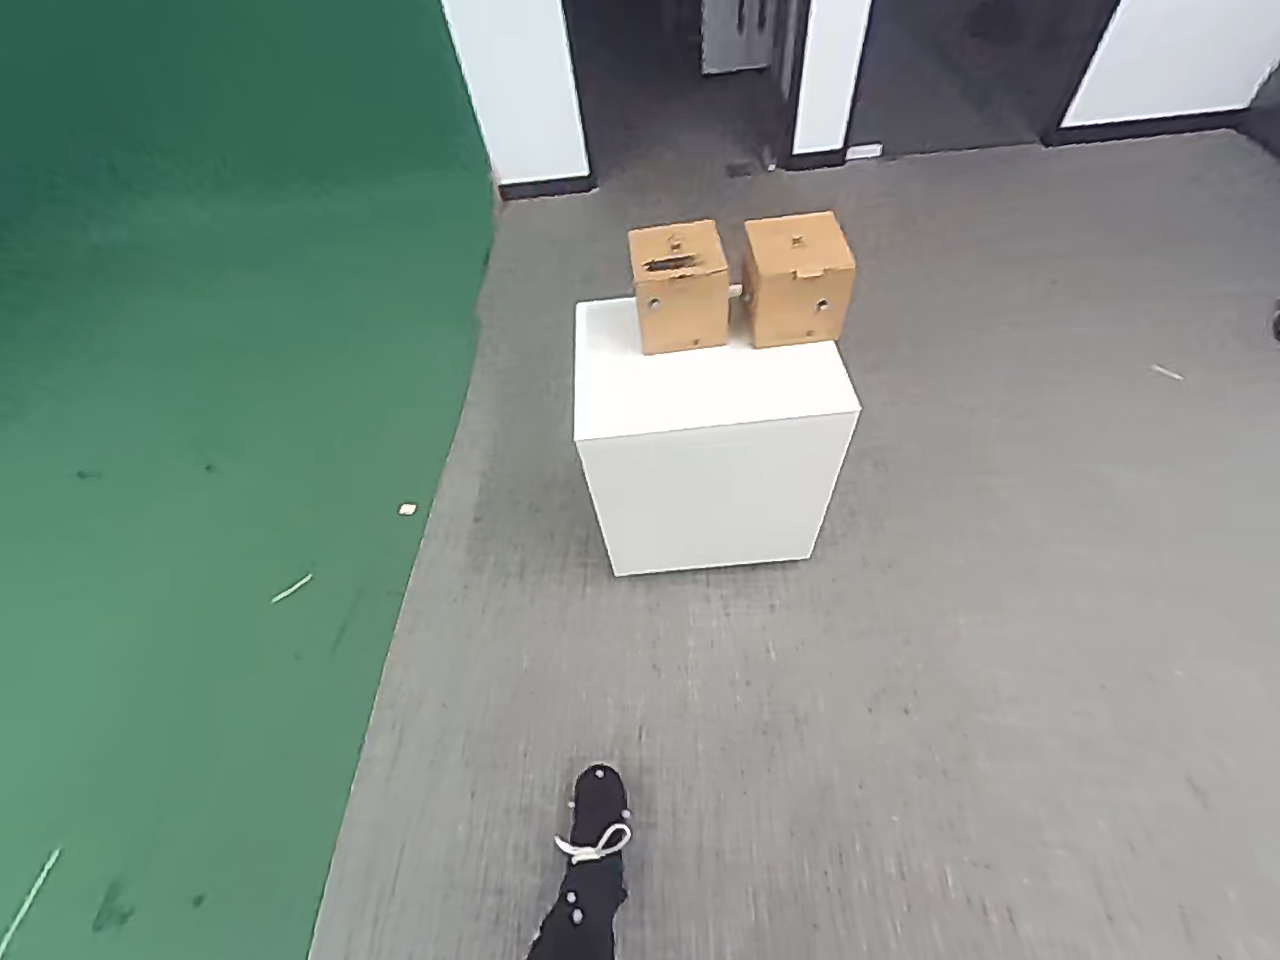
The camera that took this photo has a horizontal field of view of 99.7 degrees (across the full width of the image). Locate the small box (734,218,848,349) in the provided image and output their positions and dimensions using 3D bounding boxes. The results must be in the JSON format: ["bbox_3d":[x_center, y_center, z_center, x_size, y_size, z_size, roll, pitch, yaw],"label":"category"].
[{"bbox_3d":[0.277,-0.367,1.034,0.168,0.176,0.179,-6,53,2],"label":"small box"}]
